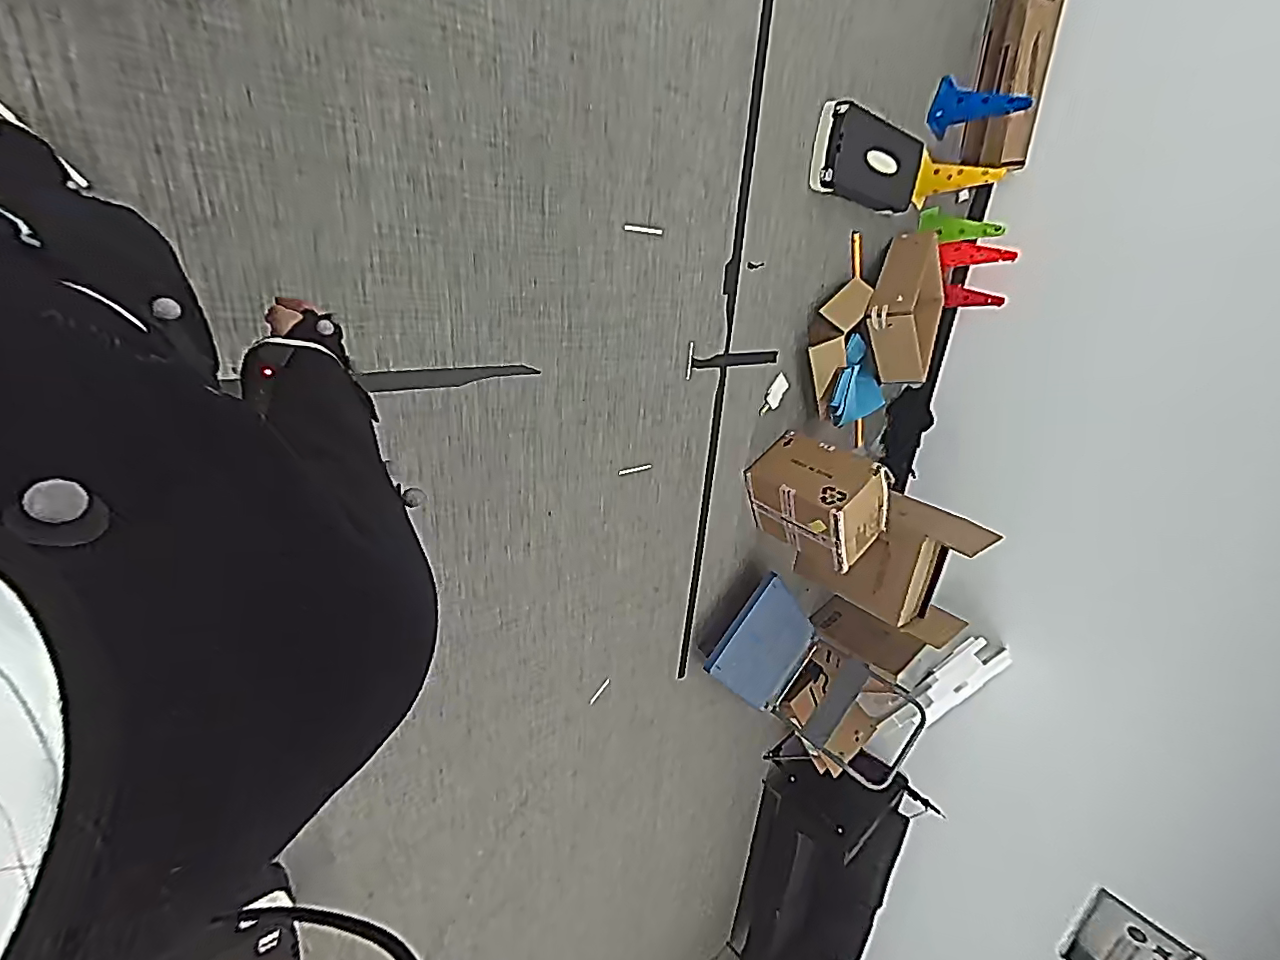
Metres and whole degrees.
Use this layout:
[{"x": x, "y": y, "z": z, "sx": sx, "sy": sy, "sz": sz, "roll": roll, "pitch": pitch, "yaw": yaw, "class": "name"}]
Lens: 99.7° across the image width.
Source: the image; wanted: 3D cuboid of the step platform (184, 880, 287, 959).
[{"x": -1.287, "y": 1.357, "z": 1.343, "sx": 0.684, "sy": 0.204, "sz": 0.286, "roll": -15, "pitch": 120, "yaw": -40, "class": "step platform"}]
